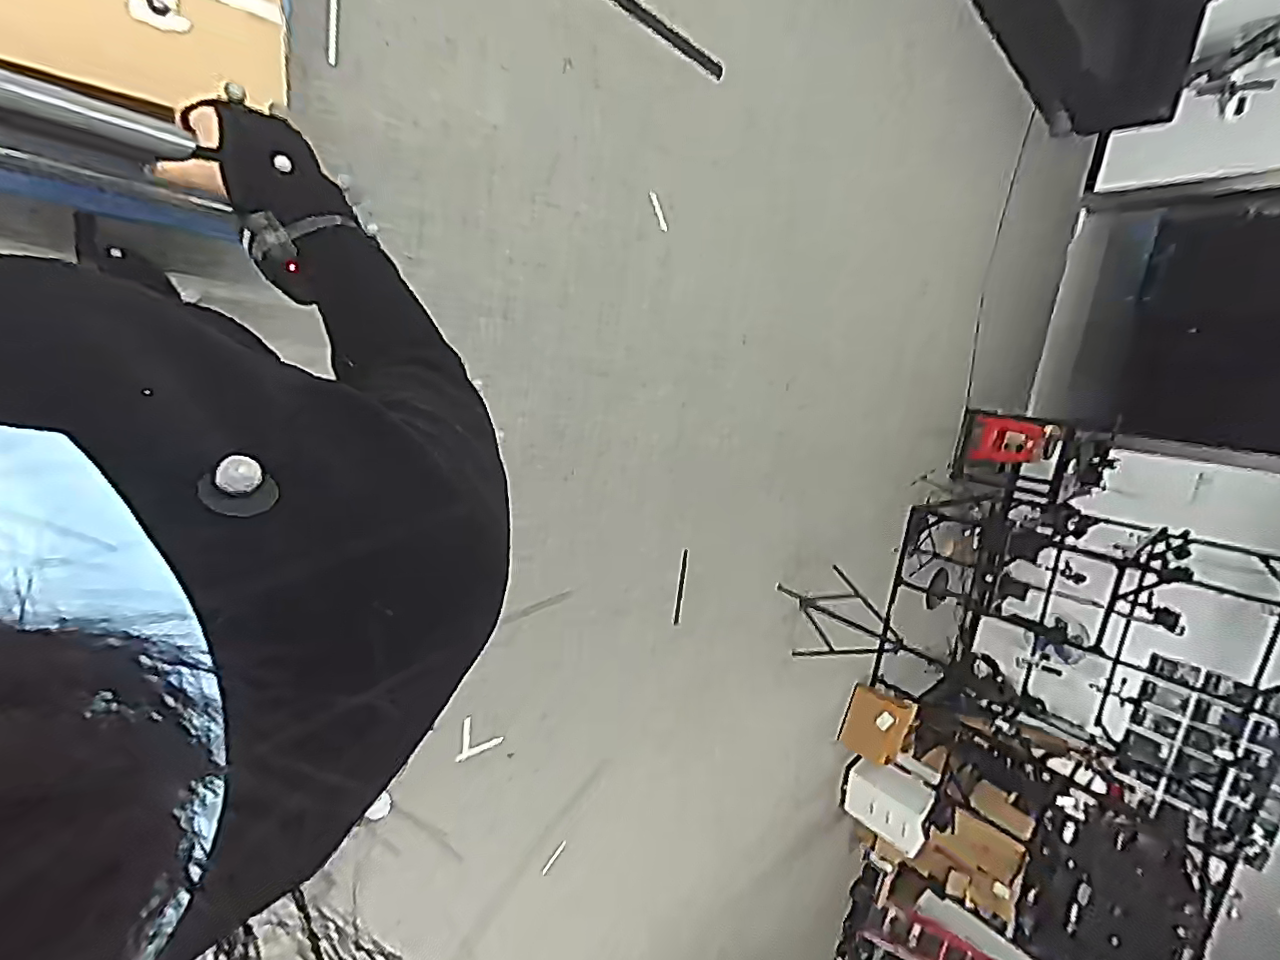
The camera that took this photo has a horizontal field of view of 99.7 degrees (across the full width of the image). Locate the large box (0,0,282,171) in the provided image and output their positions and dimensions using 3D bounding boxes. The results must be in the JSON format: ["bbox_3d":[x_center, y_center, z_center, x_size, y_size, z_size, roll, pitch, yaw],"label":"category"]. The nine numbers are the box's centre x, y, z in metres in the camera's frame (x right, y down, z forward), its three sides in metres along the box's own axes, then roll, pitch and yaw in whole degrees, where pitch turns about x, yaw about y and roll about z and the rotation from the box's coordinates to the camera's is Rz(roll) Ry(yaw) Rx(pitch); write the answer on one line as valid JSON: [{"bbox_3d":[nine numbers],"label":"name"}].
[{"bbox_3d":[-0.769,-0.672,0.742,0.408,0.320,0.320,-7,108,-43],"label":"large box"}]
